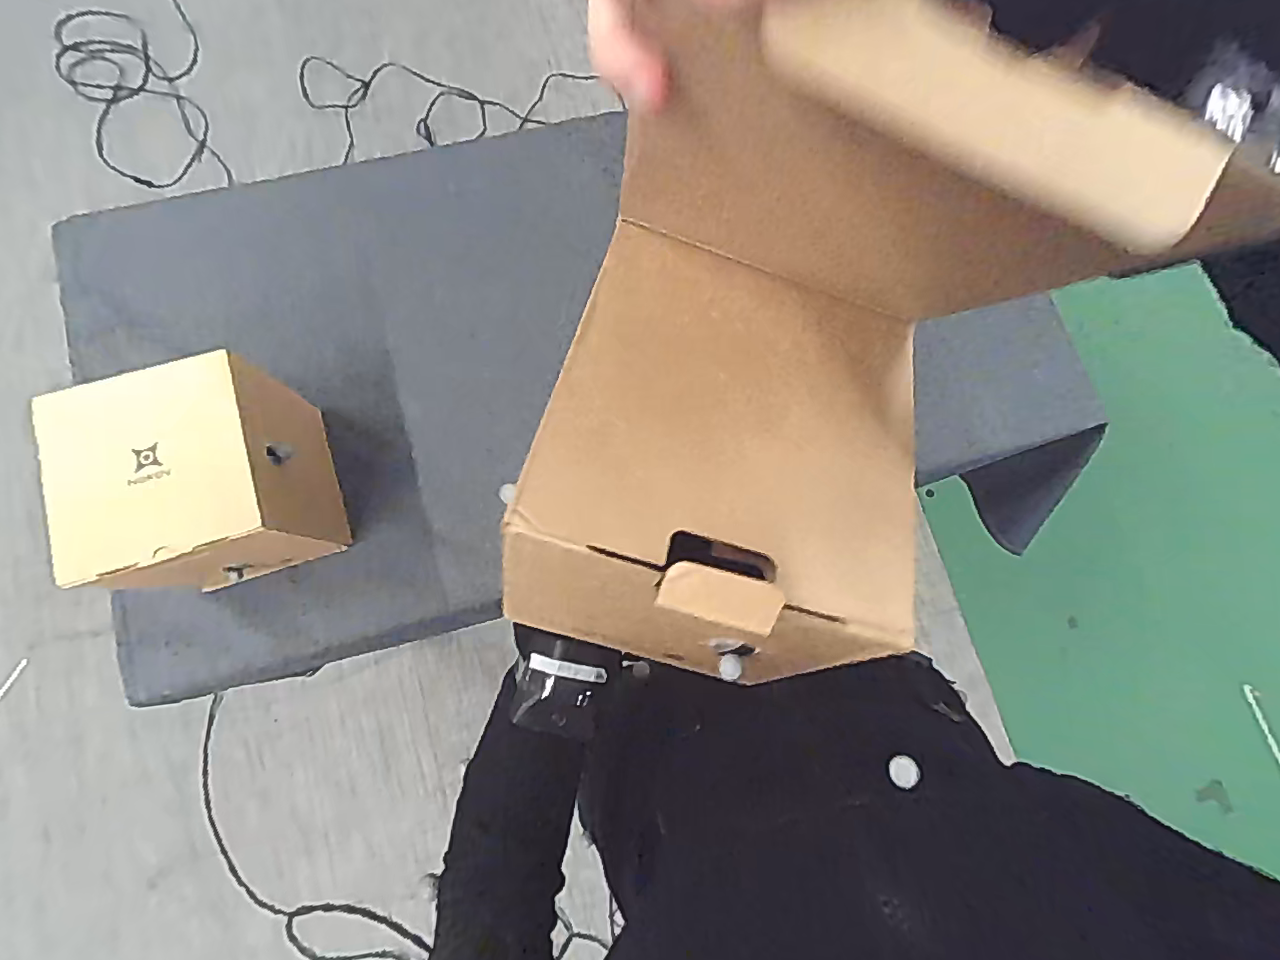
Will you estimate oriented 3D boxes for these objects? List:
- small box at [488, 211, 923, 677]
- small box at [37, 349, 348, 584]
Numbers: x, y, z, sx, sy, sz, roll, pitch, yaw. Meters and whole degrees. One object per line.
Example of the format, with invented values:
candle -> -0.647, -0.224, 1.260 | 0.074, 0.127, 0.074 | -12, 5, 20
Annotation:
small box -> 0.028, 0.000, 0.304 | 0.168, 0.176, 0.179 | 19, 63, -5
small box -> -0.428, -0.001, 0.546 | 0.168, 0.176, 0.179 | -17, 80, -7
